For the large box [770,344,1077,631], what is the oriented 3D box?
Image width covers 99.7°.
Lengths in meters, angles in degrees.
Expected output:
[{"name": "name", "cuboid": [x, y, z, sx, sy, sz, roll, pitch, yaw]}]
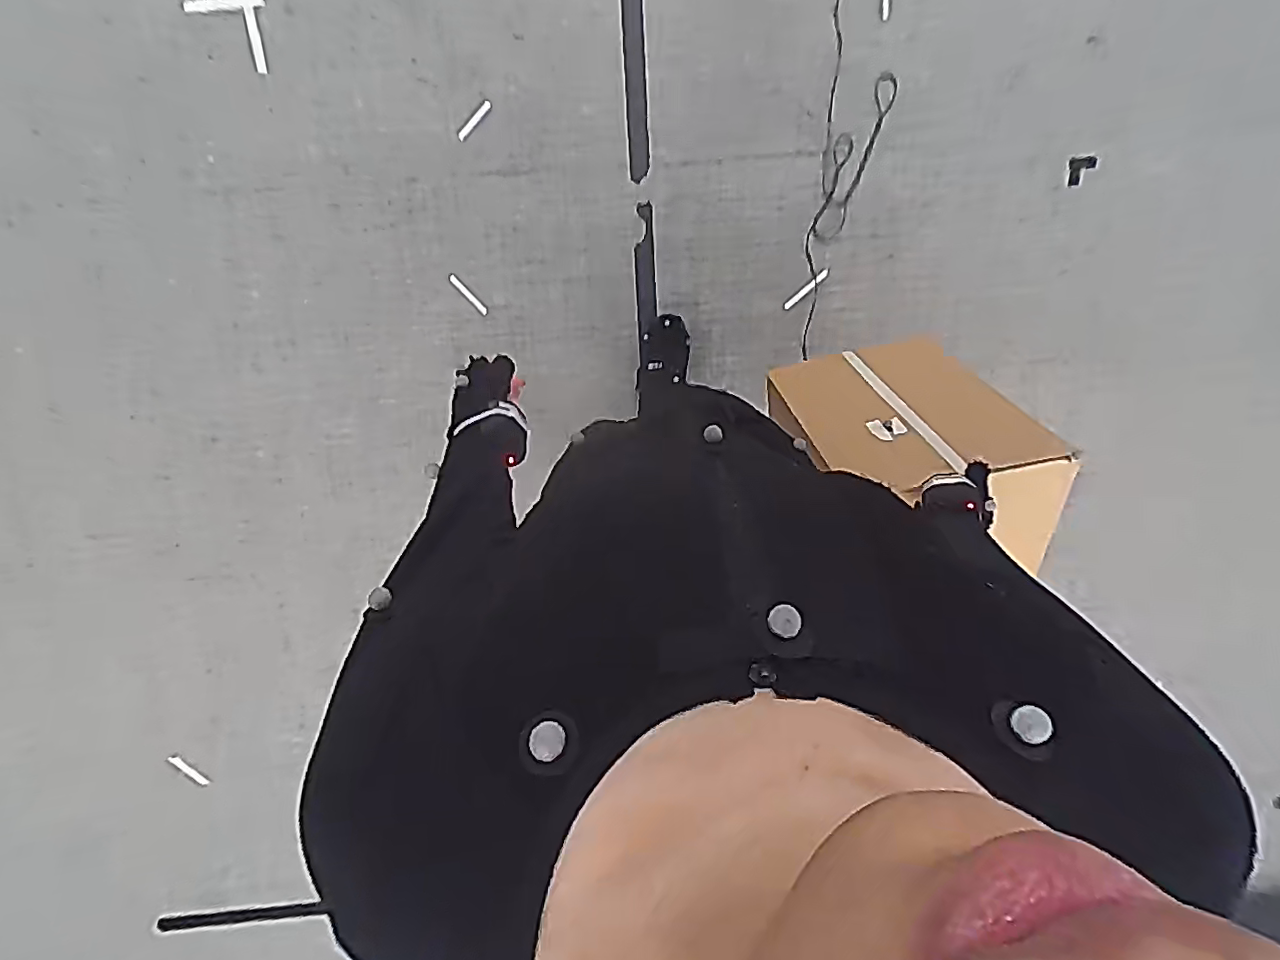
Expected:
[{"name": "large box", "cuboid": [0.449, -0.002, 0.985, 0.320, 0.408, 0.320, -12, 128, 1]}]
